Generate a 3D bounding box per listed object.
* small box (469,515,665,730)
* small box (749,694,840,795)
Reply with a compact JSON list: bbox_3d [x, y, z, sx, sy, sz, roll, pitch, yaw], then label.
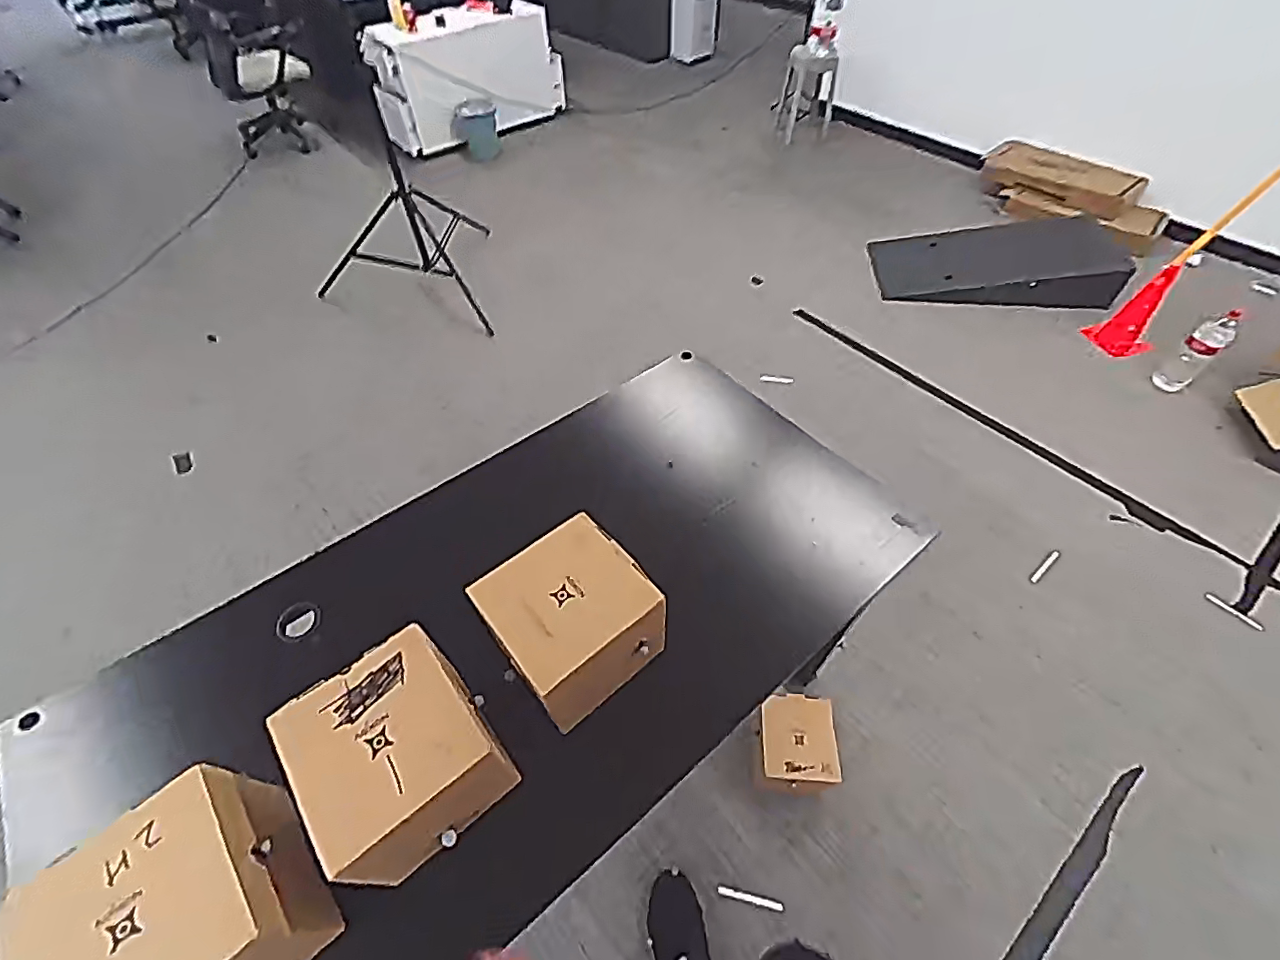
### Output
[{"bbox_3d":[-0.087,0.185,0.698,0.179,0.176,0.168,-34,58,-22],"label":"small box"},{"bbox_3d":[0.353,0.623,1.270,0.168,0.176,0.179,3,52,3],"label":"small box"}]
